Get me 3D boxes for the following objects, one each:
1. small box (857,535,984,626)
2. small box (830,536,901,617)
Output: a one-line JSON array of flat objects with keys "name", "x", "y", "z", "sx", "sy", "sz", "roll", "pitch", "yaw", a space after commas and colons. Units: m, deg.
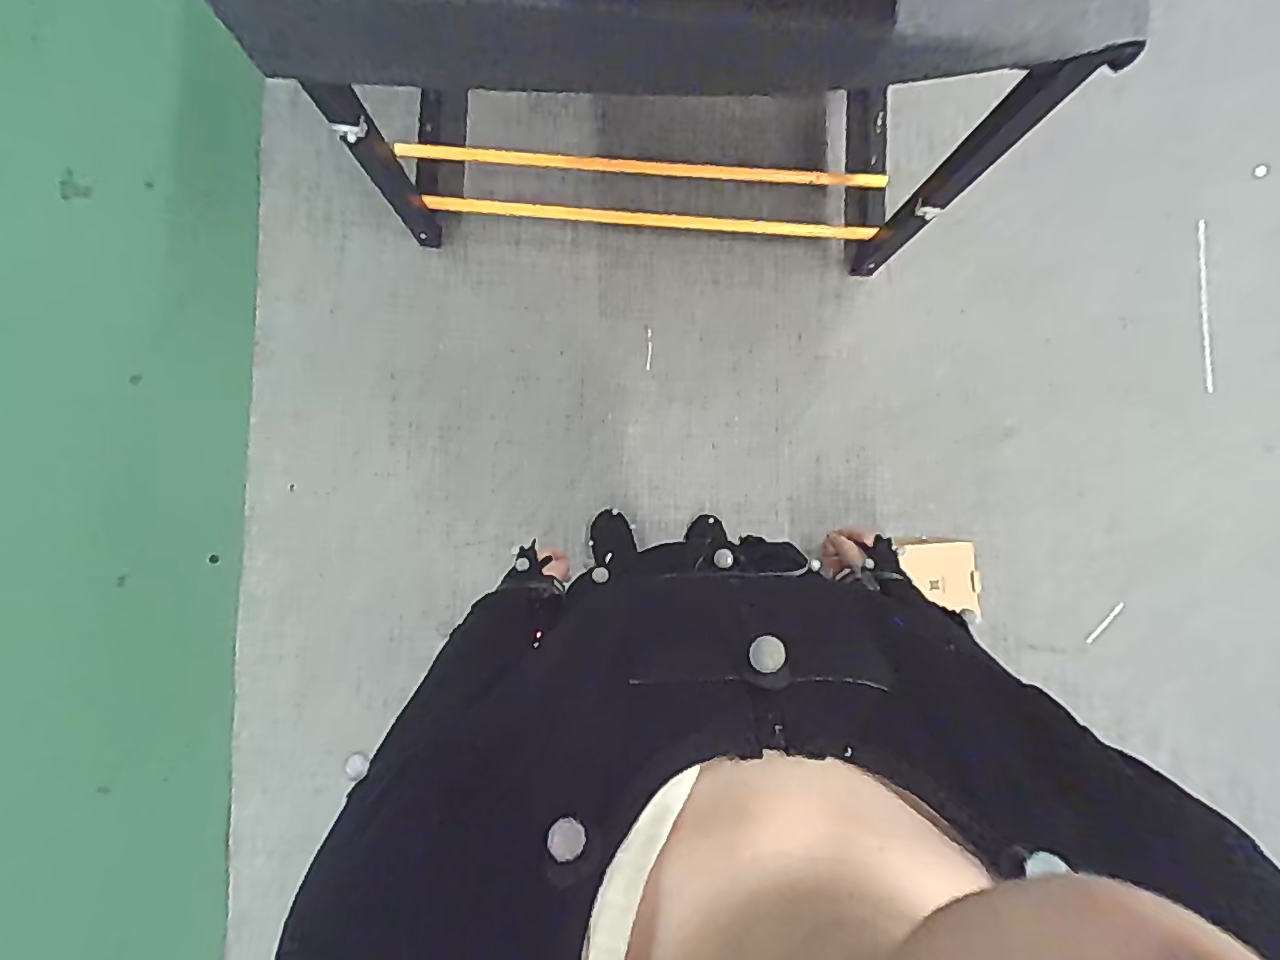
[{"name": "small box", "x": 0.588, "y": 0.206, "z": 1.149, "sx": 0.179, "sy": 0.176, "sz": 0.168, "roll": -4, "pitch": 86, "yaw": -2}, {"name": "small box", "x": 0.575, "y": 0.226, "z": 1.312, "sx": 0.168, "sy": 0.176, "sz": 0.179, "roll": -4, "pitch": 87, "yaw": -3}]
